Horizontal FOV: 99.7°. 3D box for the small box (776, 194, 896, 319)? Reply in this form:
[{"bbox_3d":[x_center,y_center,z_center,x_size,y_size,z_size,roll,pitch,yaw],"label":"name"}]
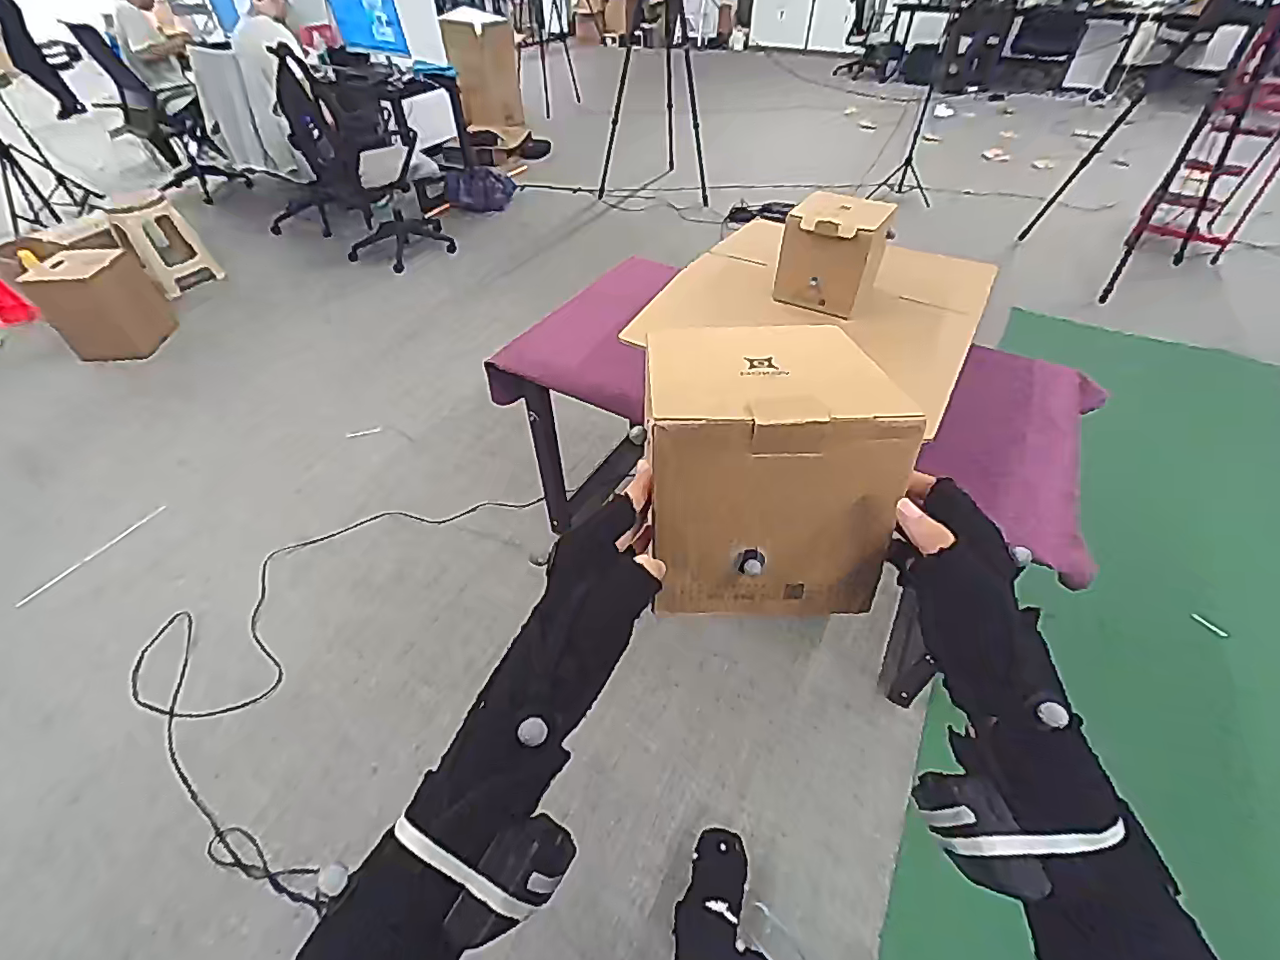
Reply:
[{"bbox_3d":[0.389,-0.453,1.093,0.168,0.176,0.179,24,50,23],"label":"small box"}]

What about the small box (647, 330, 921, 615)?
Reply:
[{"bbox_3d":[0.089,-0.013,0.440,0.168,0.176,0.179,-1,34,0],"label":"small box"}]
